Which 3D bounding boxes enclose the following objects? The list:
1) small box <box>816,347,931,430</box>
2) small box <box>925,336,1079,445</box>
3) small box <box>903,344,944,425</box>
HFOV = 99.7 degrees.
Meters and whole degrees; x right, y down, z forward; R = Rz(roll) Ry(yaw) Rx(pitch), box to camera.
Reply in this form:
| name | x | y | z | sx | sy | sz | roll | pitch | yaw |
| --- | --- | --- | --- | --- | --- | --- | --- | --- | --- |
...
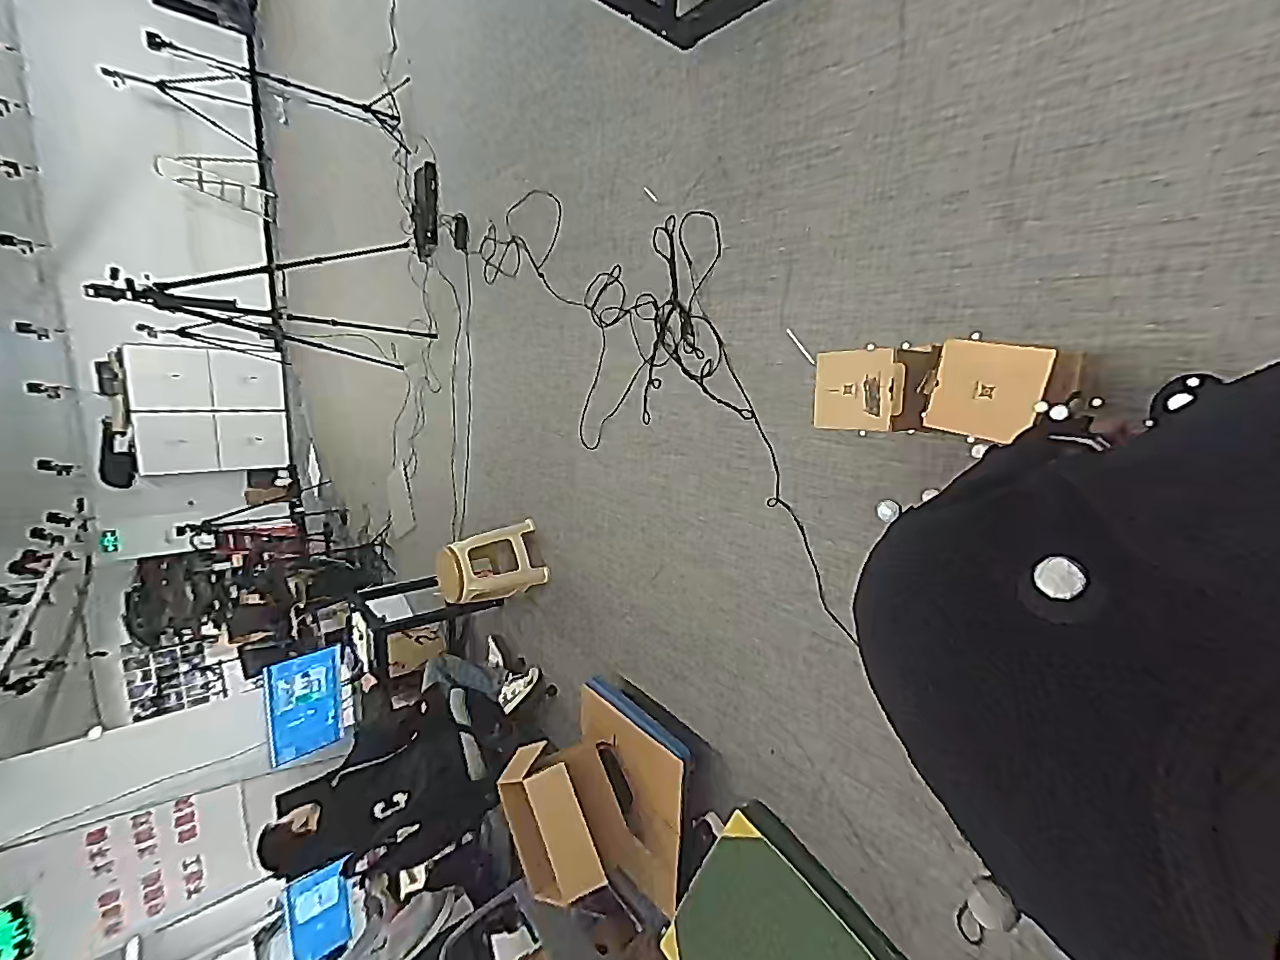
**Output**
| name | x | y | z | sx | sy | sz | roll | pitch | yaw |
| --- | --- | --- | --- | --- | --- | --- | --- | --- | --- |
| small box | 0.507 | -0.198 | 1.172 | 0.179 | 0.176 | 0.168 | 10 | 103 | 50 |
| small box | 0.666 | -0.170 | 0.996 | 0.179 | 0.176 | 0.168 | 24 | 115 | 46 |
| small box | 0.639 | -0.218 | 1.269 | 0.168 | 0.176 | 0.179 | 2 | 97 | 50 |
